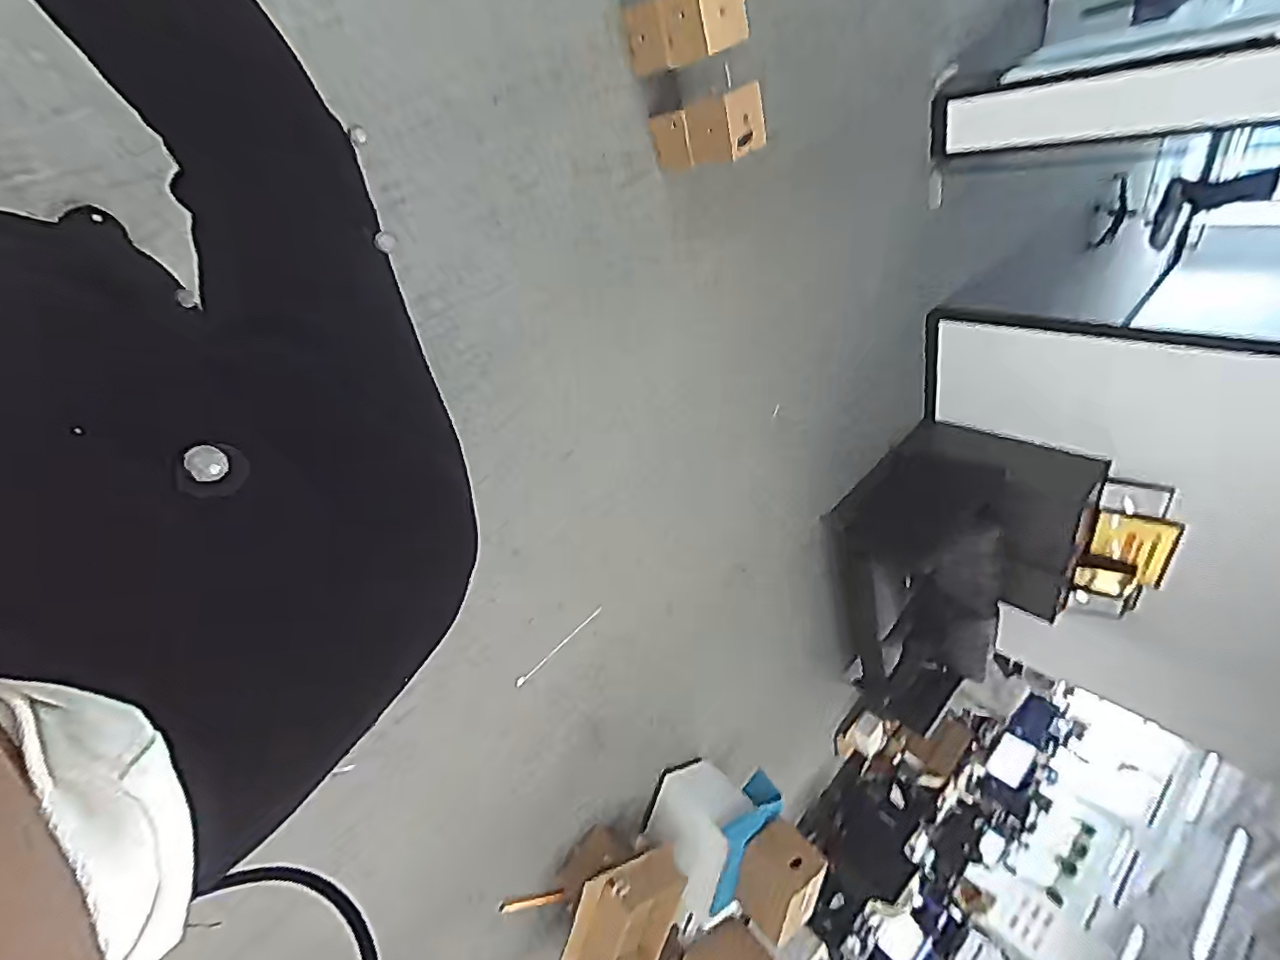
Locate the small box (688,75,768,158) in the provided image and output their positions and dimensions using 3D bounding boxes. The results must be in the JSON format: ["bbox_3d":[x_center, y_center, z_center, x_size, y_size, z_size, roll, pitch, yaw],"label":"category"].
[{"bbox_3d":[0.273,-1.122,1.681,0.168,0.176,0.179,-38,129,-24],"label":"small box"}]

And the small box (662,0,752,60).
[{"bbox_3d":[0.181,-1.314,1.513,0.179,0.176,0.168,-40,131,-21],"label":"small box"}]

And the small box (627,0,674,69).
[{"bbox_3d":[0.079,-1.368,1.627,0.179,0.176,0.168,-37,130,-22],"label":"small box"}]
